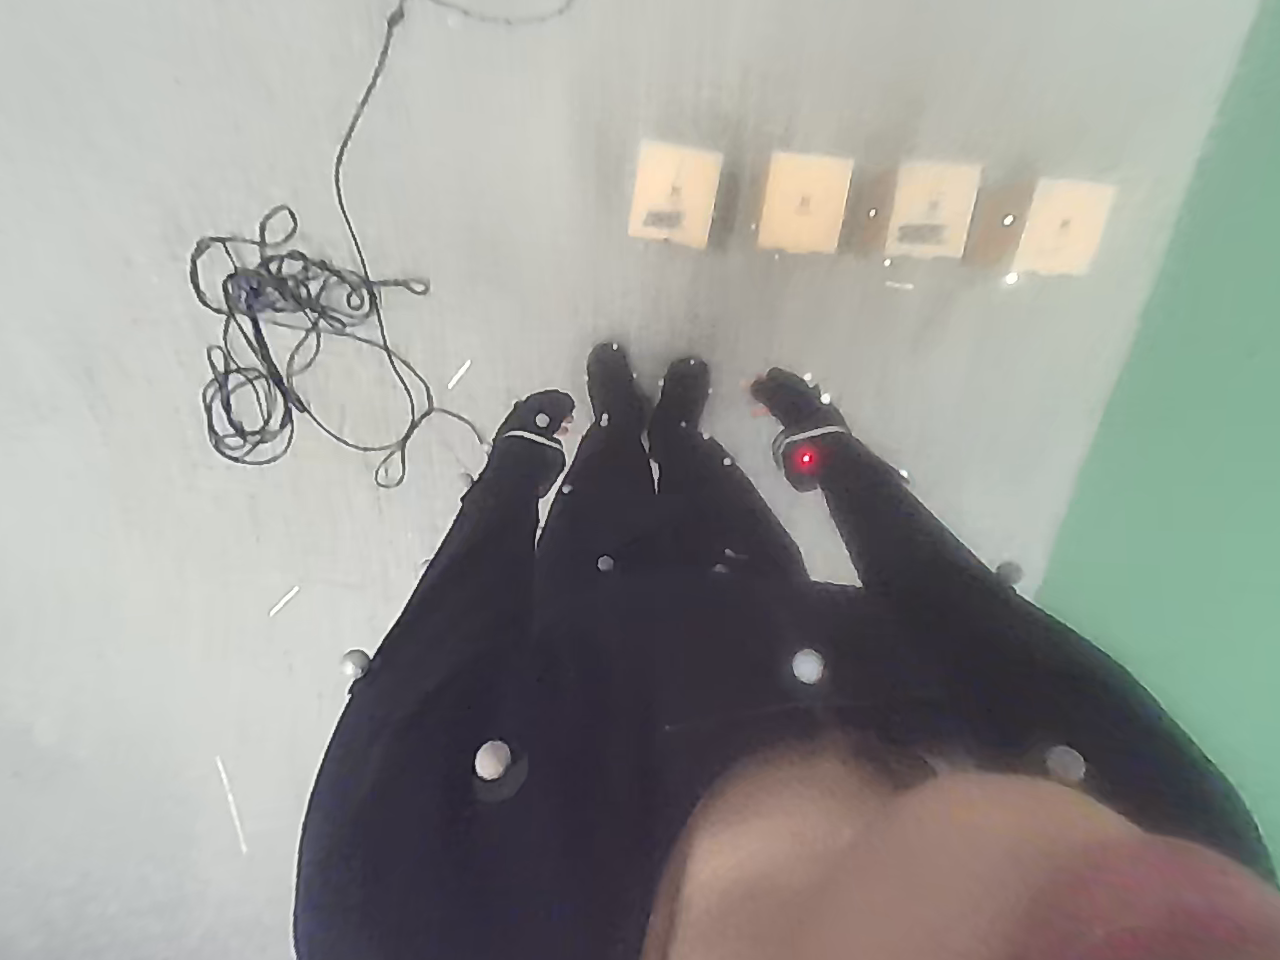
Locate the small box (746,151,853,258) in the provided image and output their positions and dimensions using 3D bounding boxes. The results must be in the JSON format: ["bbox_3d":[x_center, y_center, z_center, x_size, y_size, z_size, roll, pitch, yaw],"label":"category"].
[{"bbox_3d":[0.333,-0.585,1.168,0.168,0.176,0.179,5,110,-1],"label":"small box"}]

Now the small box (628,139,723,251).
[{"bbox_3d":[0.071,-0.600,1.162,0.168,0.176,0.179,9,110,-3],"label":"small box"}]

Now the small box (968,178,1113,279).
[{"bbox_3d":[0.860,-0.543,1.184,0.168,0.176,0.179,5,111,-1],"label":"small box"}]
